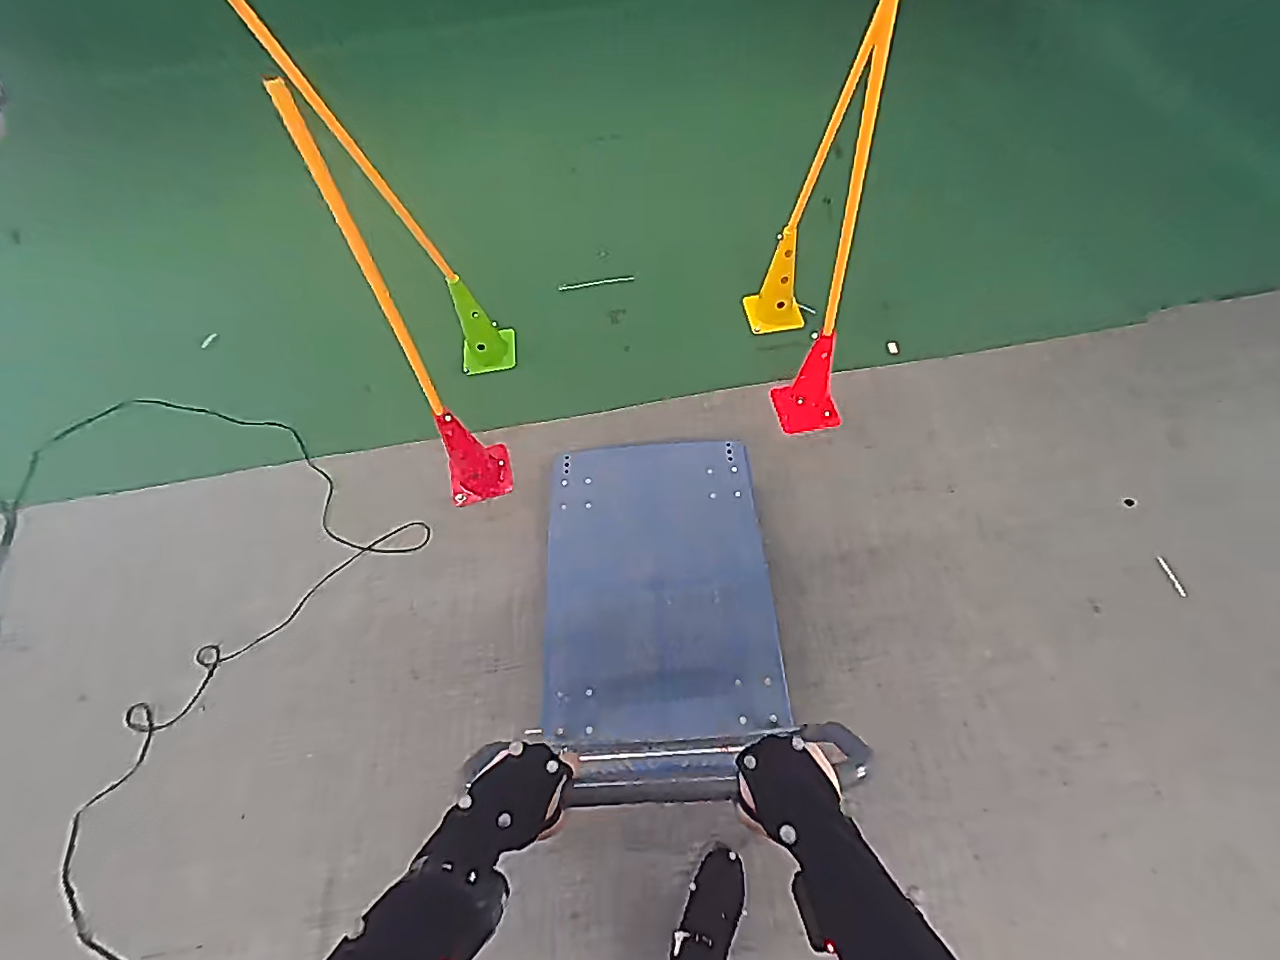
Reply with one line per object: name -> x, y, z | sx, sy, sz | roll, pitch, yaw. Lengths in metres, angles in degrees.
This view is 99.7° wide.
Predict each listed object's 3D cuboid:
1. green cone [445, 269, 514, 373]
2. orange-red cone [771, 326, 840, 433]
green cone -> -0.595, -0.581, 1.911 | 0.200, 0.368, 0.202 | -10, 59, 0
orange-red cone -> 0.546, -0.335, 1.682 | 0.198, 0.360, 0.199 | -9, 59, -1
